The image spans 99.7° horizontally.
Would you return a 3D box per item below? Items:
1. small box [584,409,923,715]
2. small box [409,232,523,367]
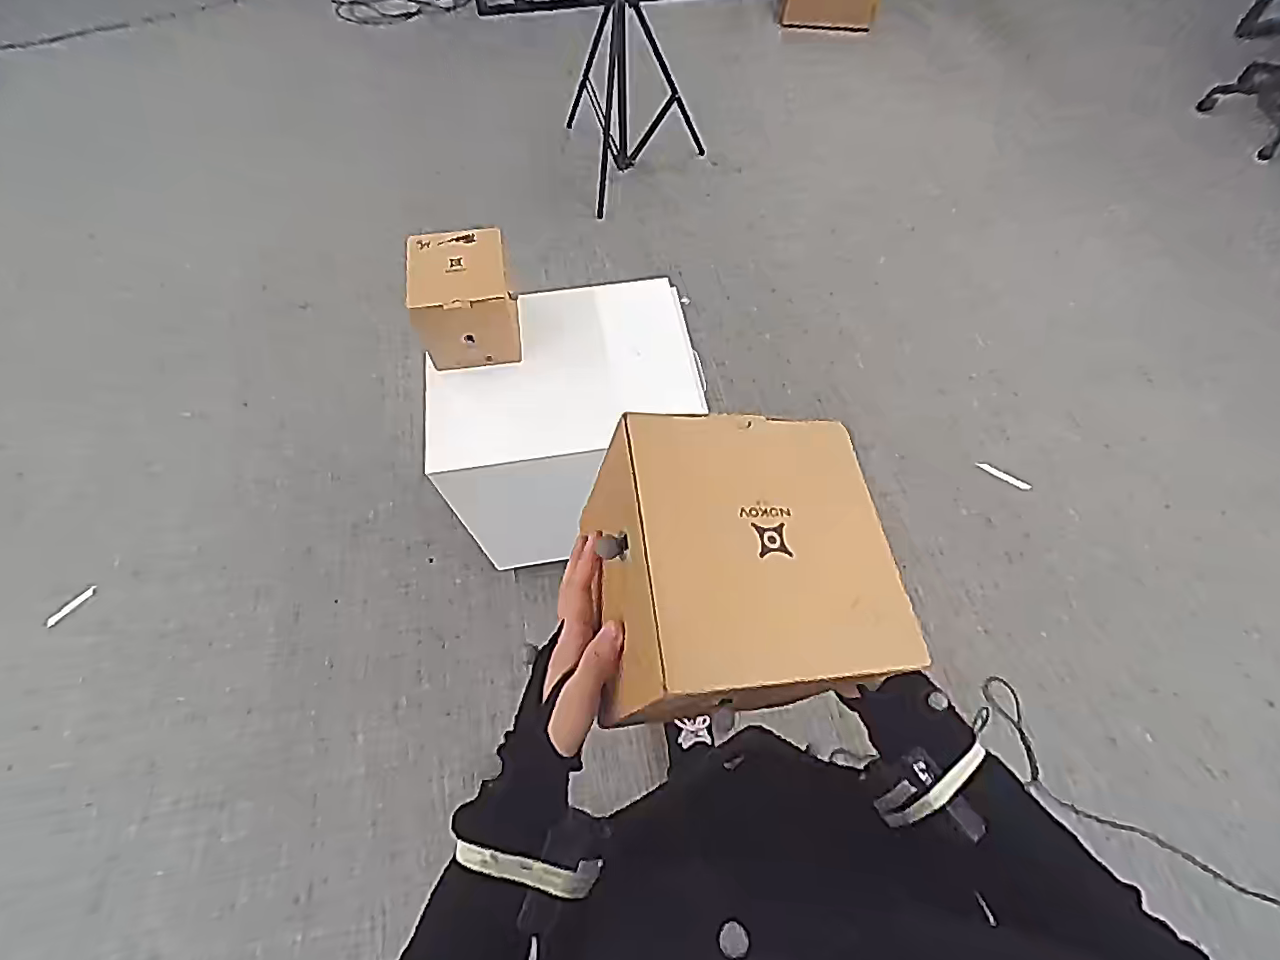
[{"bbox_3d":[0.058,0.069,0.401,0.168,0.176,0.179,0,60,-17],"label":"small box"},{"bbox_3d":[-0.318,-0.327,1.009,0.168,0.176,0.179,-8,65,-6],"label":"small box"}]
